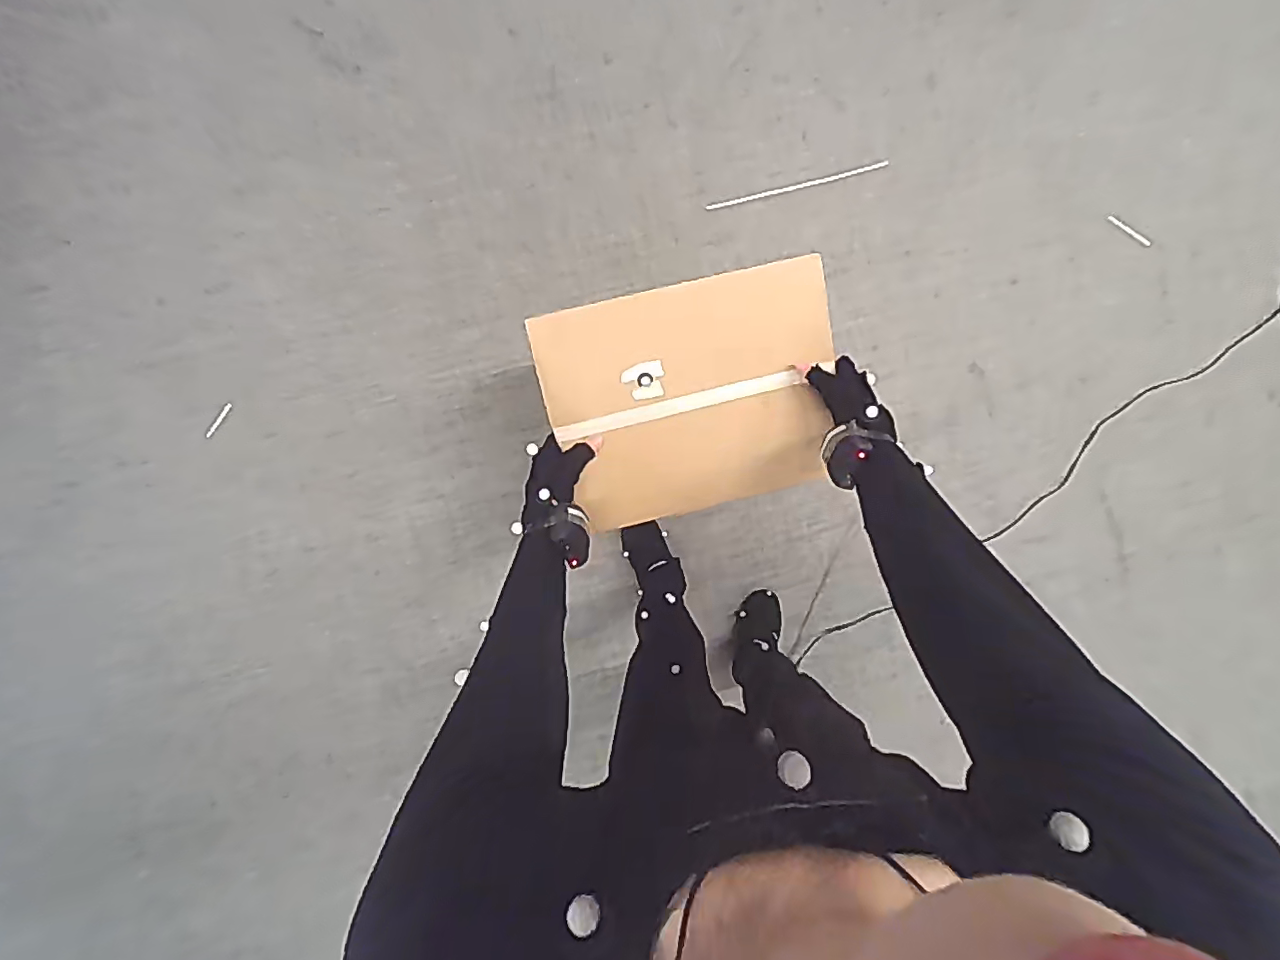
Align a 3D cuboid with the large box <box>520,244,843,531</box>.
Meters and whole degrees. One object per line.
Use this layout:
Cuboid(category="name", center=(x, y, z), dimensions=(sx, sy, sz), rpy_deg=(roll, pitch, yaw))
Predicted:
Cuboid(category="large box", center=(0.057, -0.158, 0.875), dimensions=(0.408, 0.320, 0.320), rpy_deg=(-14, 106, -2))
